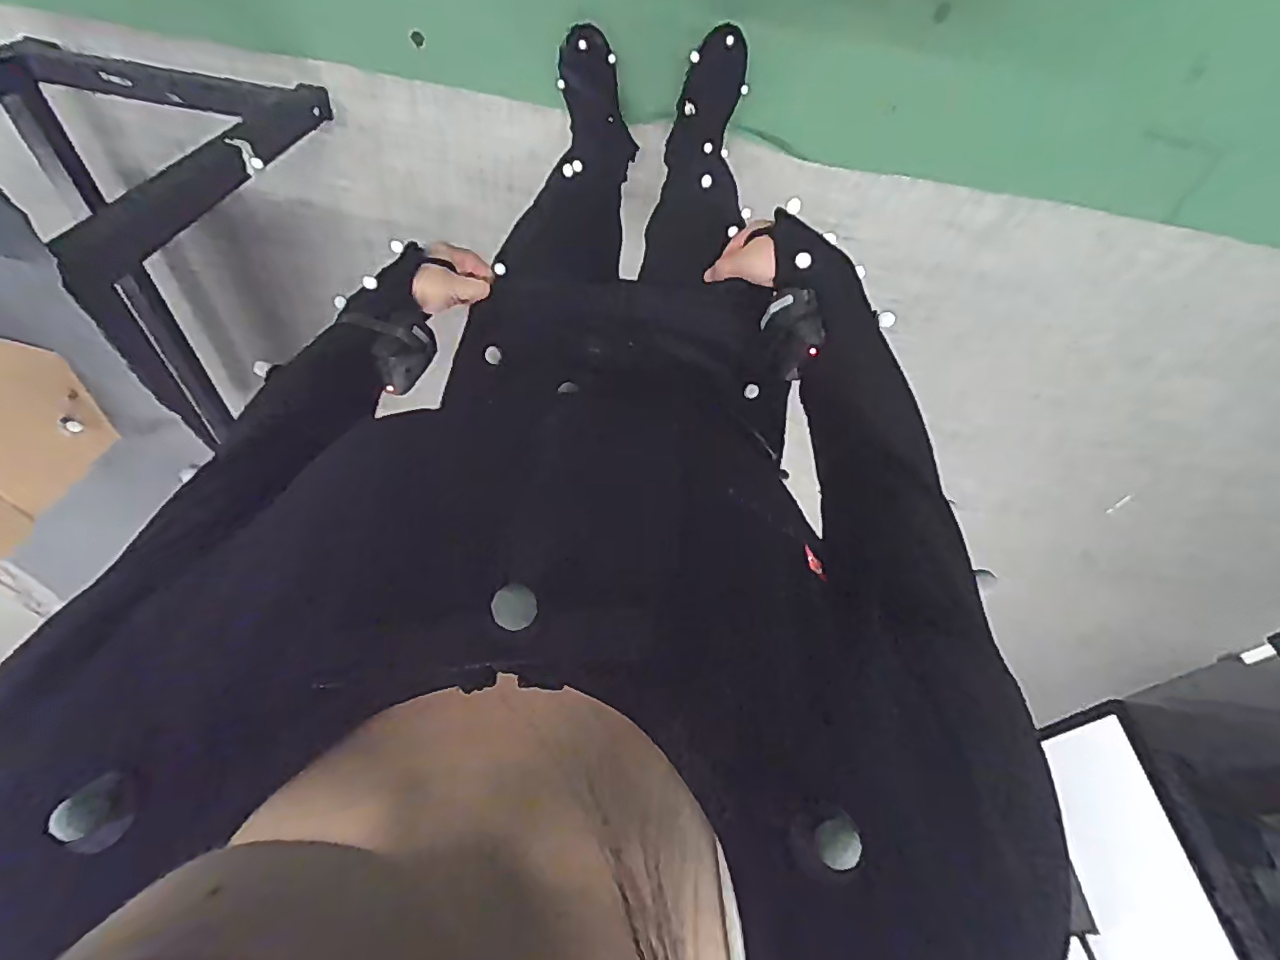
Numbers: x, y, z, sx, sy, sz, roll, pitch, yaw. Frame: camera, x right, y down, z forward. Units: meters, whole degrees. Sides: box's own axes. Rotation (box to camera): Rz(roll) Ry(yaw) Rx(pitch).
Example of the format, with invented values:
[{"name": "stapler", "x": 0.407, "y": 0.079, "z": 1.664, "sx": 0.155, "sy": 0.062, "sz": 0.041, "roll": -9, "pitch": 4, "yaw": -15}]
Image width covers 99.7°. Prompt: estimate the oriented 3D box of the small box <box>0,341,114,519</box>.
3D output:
[{"name": "small box", "x": -0.858, "y": -0.073, "z": 0.693, "sx": 0.179, "sy": 0.176, "sz": 0.168, "roll": 13, "pitch": 140, "yaw": -8}]
